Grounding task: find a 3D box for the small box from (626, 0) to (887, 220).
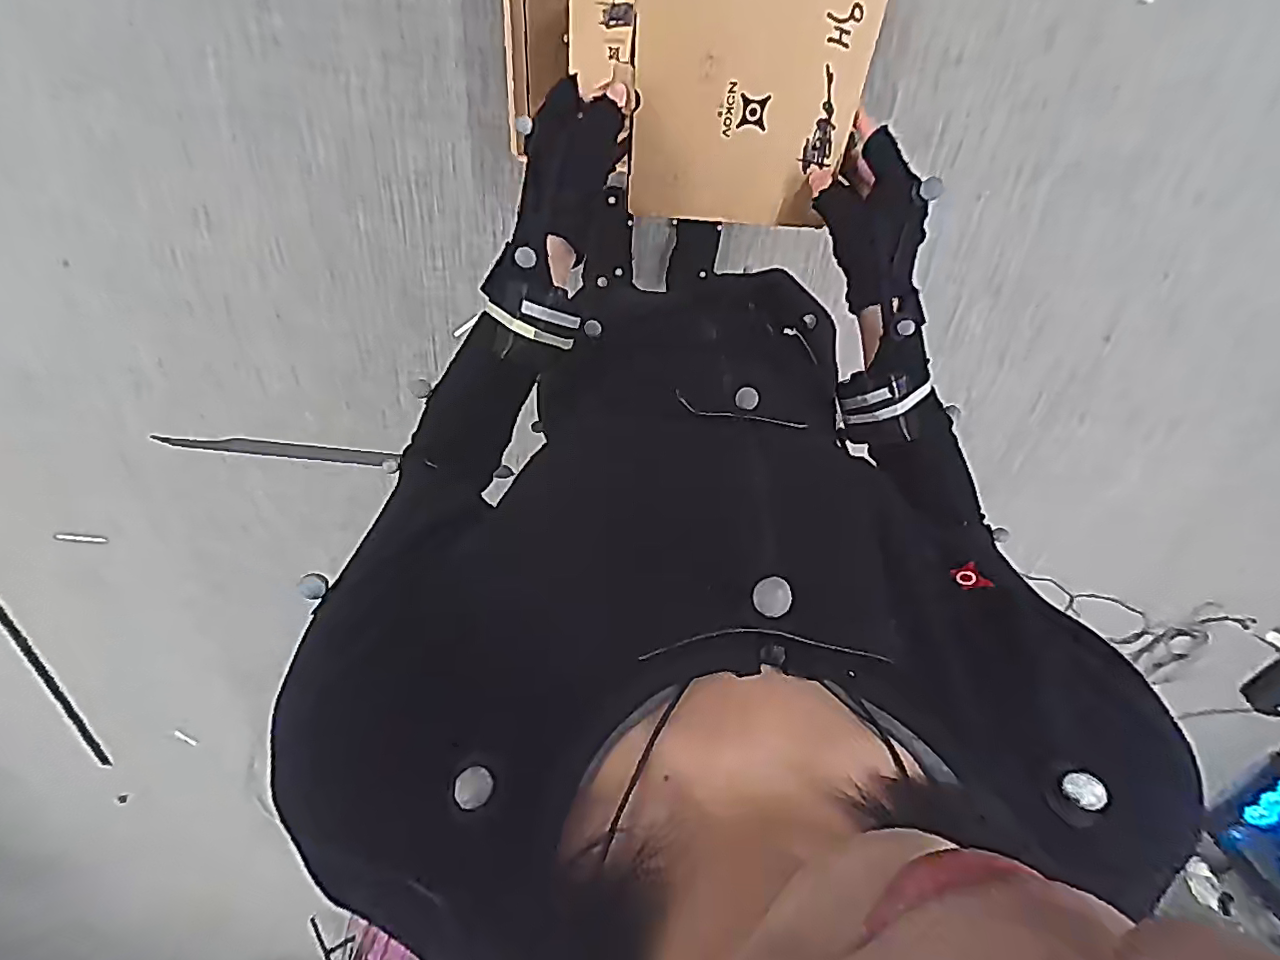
[{"bbox_3d":[0.087,-0.346,0.469,0.179,0.176,0.168,6,134,2],"label":"small box"}]
